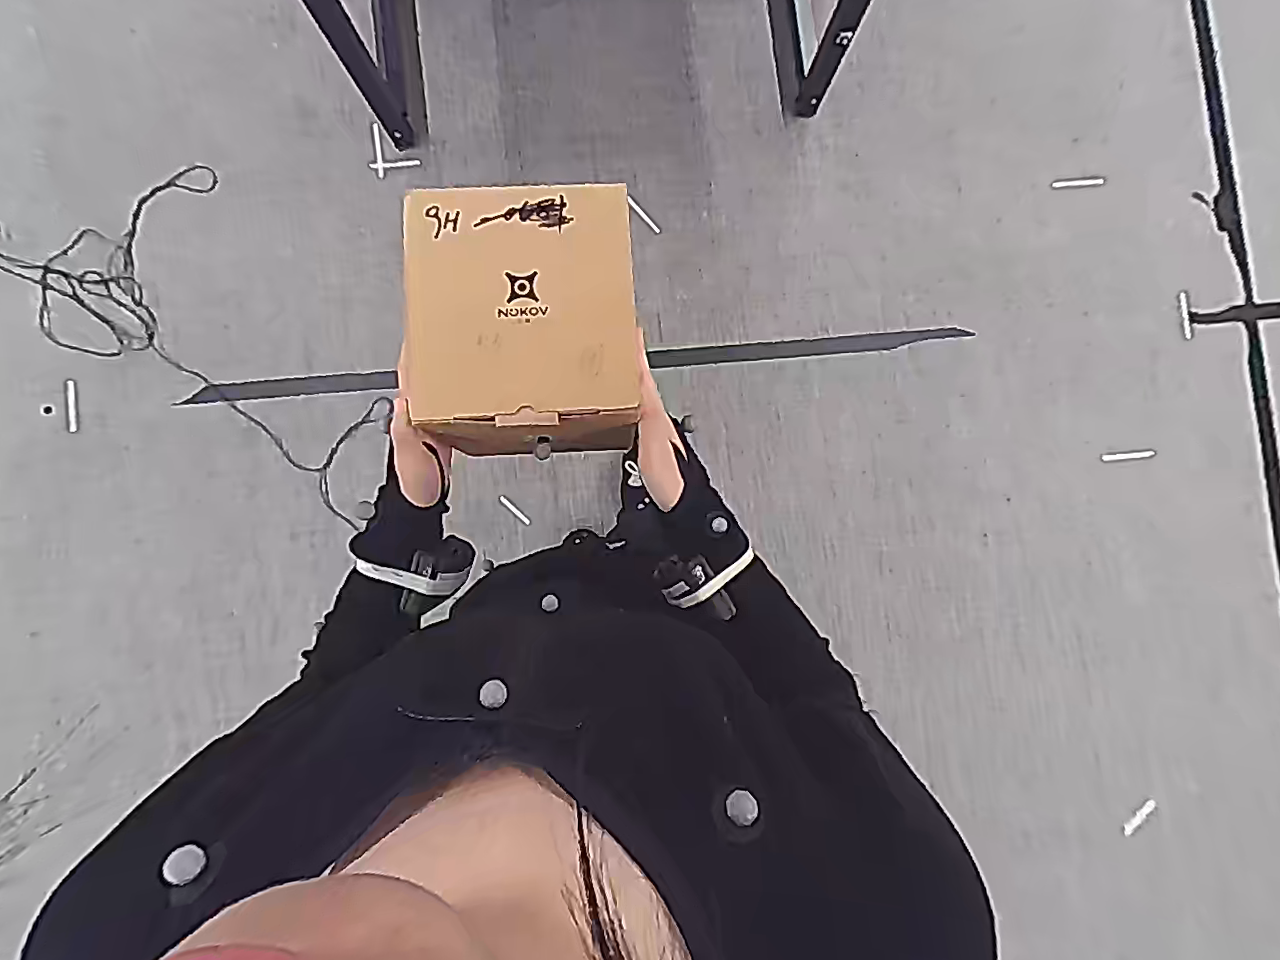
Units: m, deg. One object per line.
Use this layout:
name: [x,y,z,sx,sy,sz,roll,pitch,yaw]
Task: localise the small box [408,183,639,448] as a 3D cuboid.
small box: [-0.087,-0.124,0.472,0.168,0.176,0.179,-3,85,-3]
